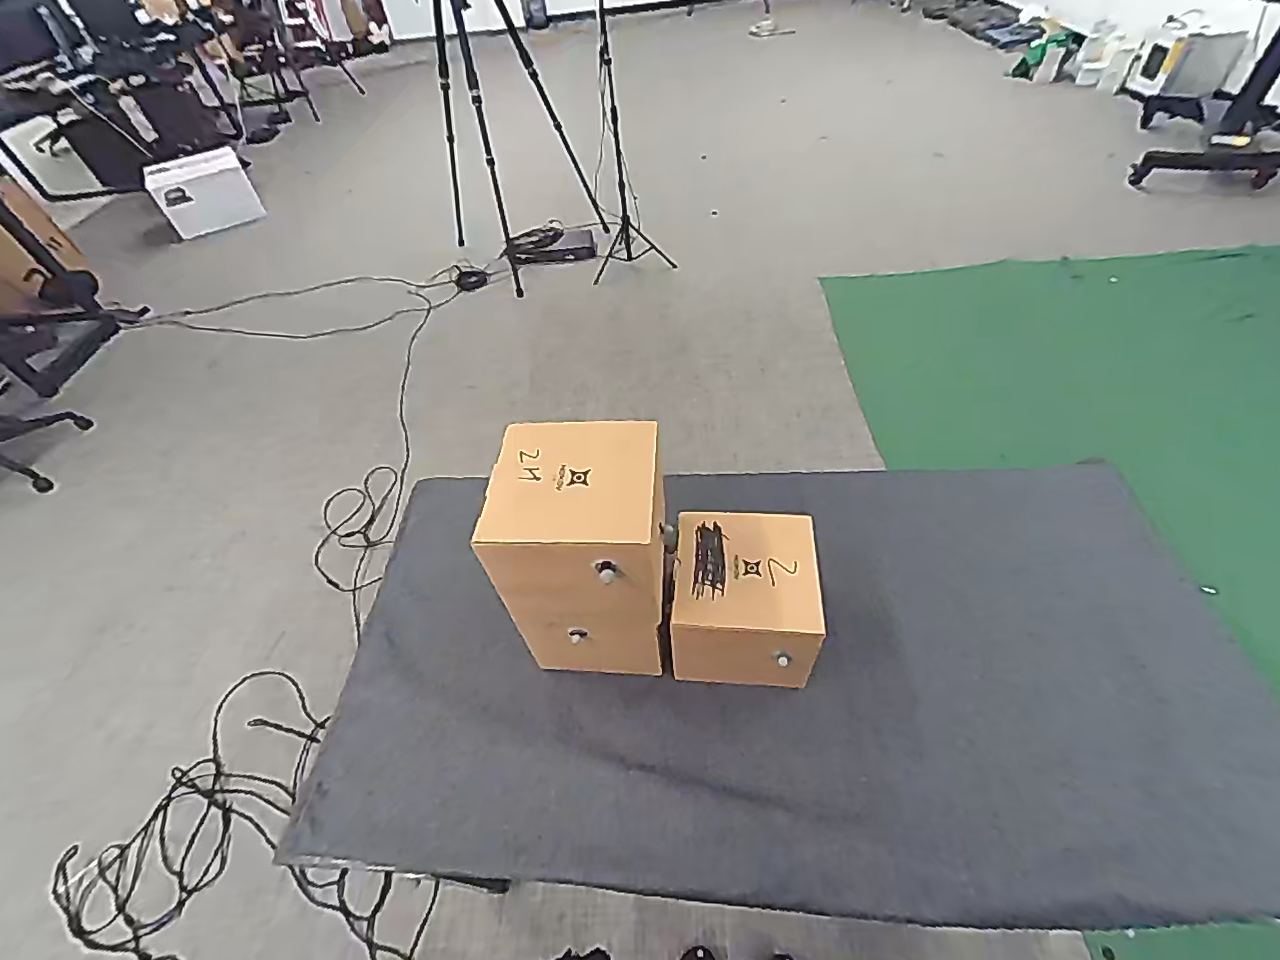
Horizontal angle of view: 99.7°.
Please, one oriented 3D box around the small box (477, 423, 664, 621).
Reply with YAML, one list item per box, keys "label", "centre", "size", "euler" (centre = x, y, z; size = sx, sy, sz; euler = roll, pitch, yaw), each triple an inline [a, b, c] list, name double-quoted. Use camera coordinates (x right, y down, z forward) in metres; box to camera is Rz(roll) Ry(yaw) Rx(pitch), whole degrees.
- label: "small box"
  centre: [-0.062, 0.051, 0.628]
  size: [0.179, 0.176, 0.168]
  euler: [0, 48, 5]
